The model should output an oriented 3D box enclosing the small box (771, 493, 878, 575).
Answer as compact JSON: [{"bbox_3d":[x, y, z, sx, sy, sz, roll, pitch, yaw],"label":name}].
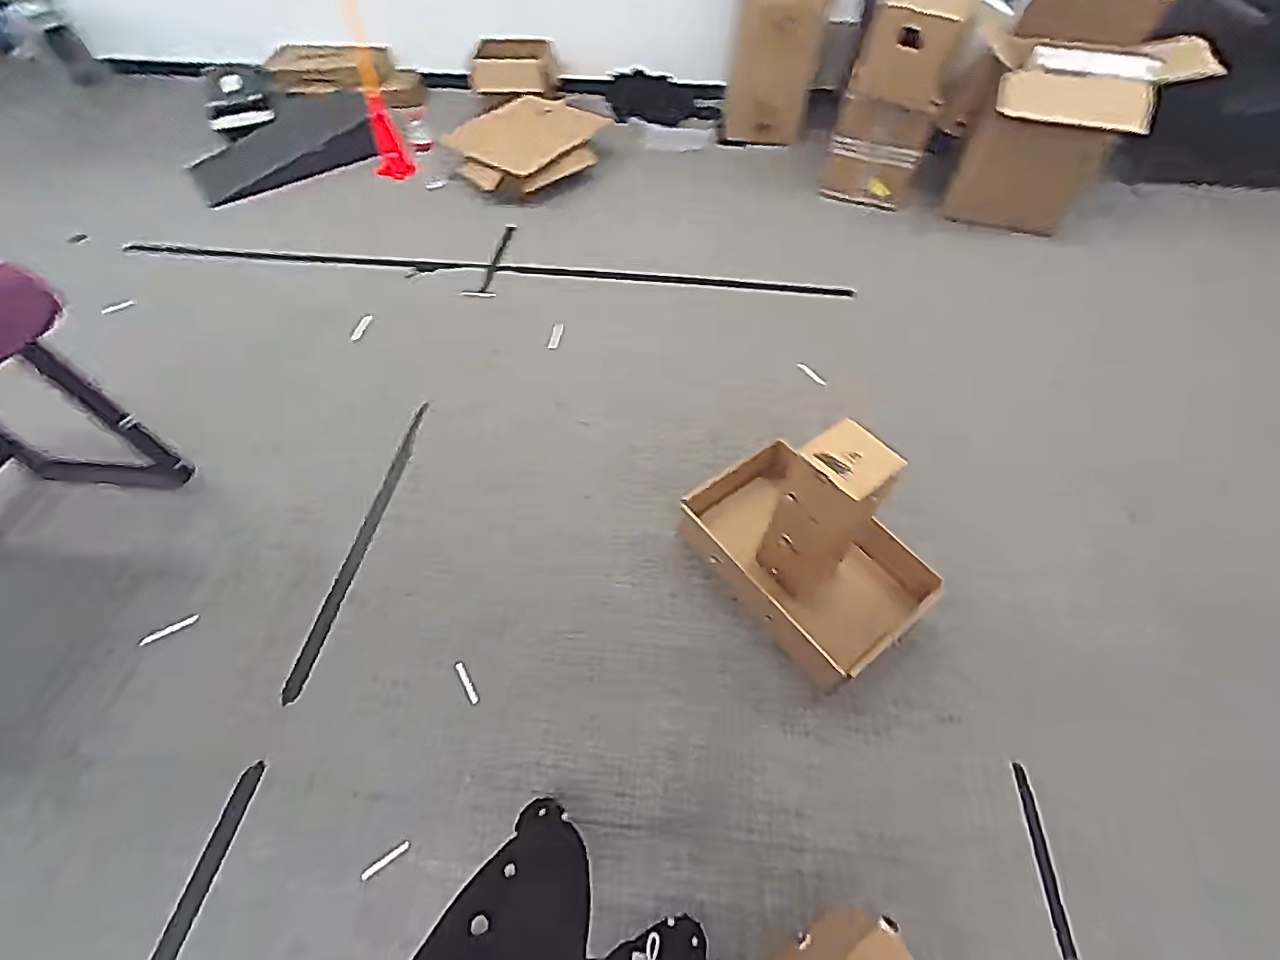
[{"bbox_3d":[0.456,0.106,1.367,0.179,0.176,0.168,-30,59,-19],"label":"small box"}]

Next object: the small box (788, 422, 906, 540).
[{"bbox_3d":[0.460,0.007,1.236,0.179,0.176,0.168,-30,59,-21],"label":"small box"}]

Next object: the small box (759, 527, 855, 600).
[{"bbox_3d":[0.453,0.200,1.499,0.179,0.176,0.168,-28,59,-19],"label":"small box"}]
